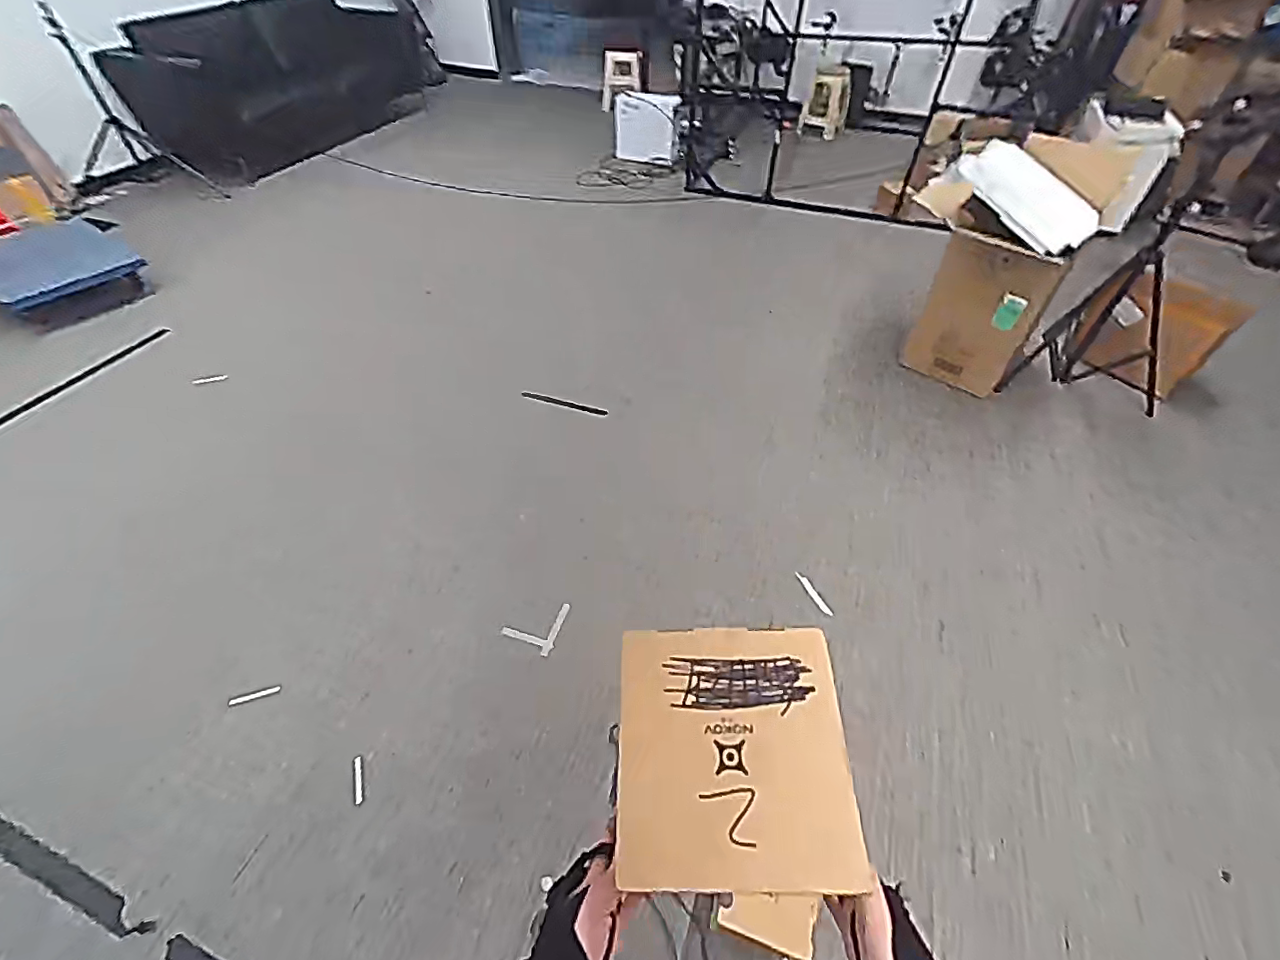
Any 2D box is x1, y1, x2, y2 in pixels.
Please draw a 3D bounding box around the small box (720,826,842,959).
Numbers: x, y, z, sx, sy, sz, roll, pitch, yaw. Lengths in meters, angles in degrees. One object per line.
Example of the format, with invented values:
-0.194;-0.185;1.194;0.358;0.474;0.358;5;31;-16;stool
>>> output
0.272;0.825;1.054;0.168;0.176;0.179;27;31;-1;small box
